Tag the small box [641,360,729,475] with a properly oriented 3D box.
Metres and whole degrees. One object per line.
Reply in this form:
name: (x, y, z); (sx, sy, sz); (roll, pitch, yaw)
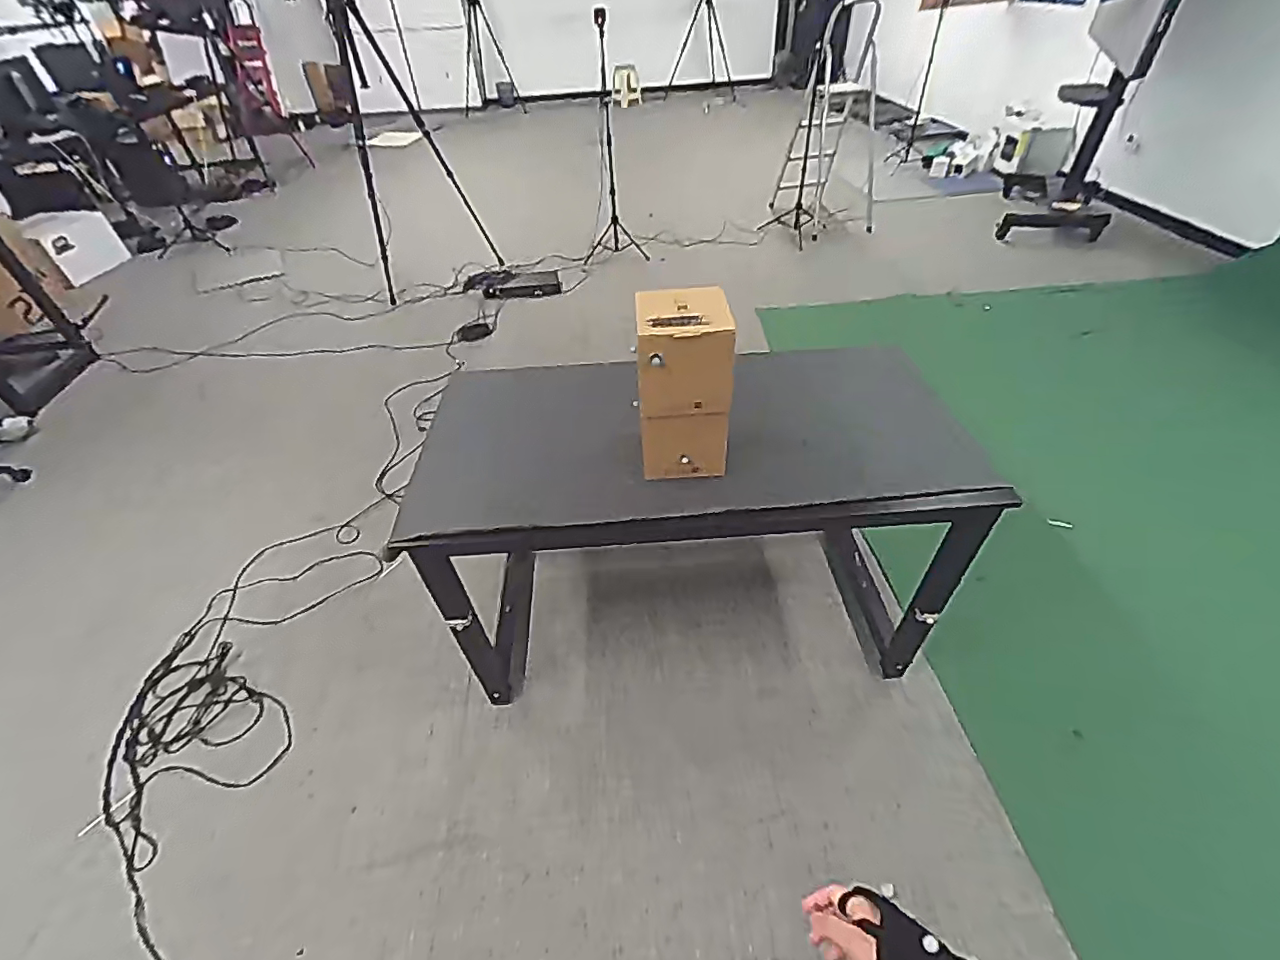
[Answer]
small box: (0.087, -0.129, 1.119); (0.168, 0.176, 0.179); (-3, 43, 1)
